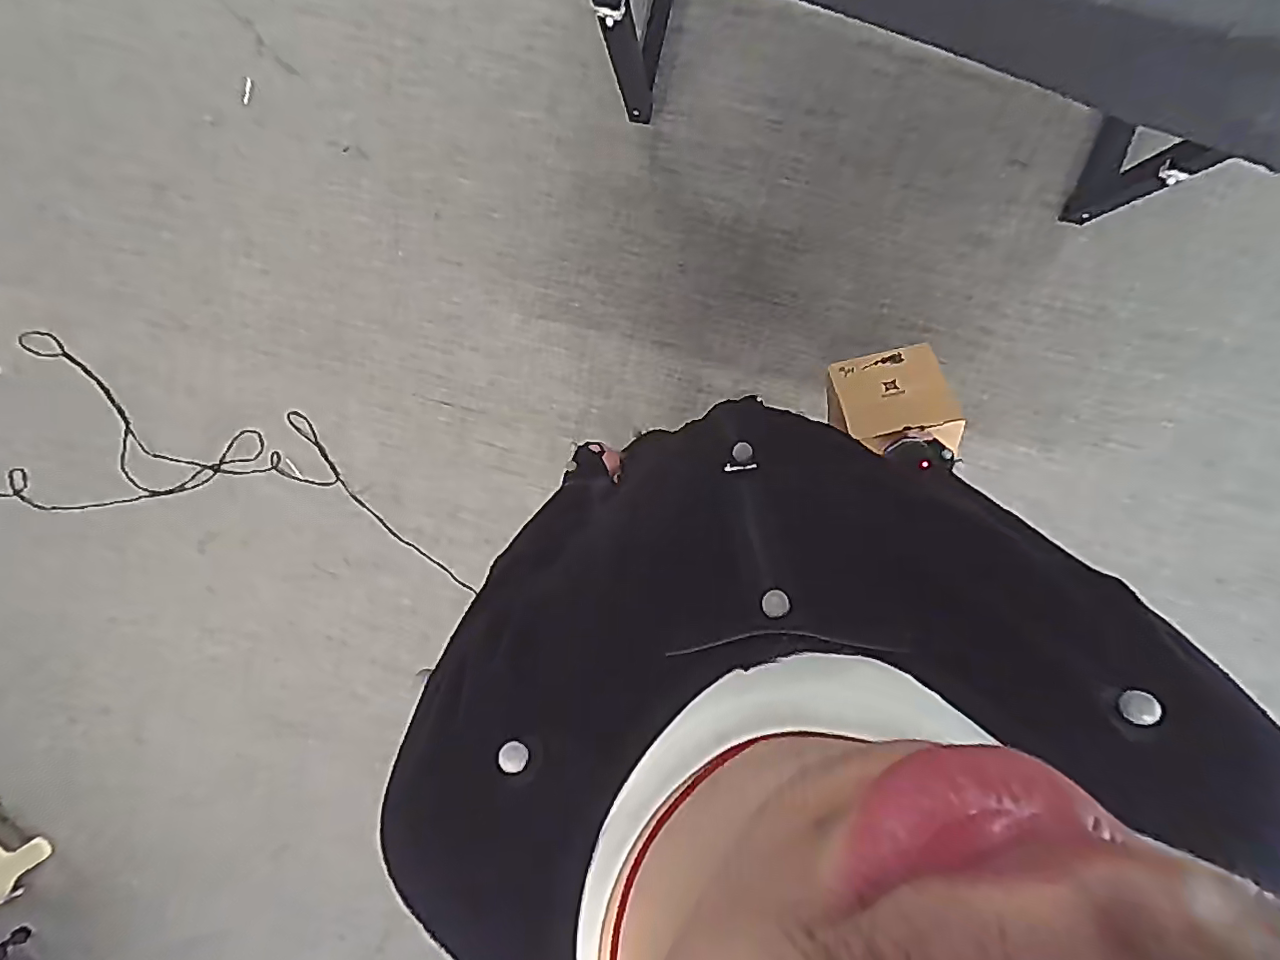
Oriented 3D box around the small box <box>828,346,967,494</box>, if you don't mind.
[{"bbox_3d":[0.433,-0.092,0.931,0.168,0.179,0.176,-14,142,13],"label":"small box"}]
